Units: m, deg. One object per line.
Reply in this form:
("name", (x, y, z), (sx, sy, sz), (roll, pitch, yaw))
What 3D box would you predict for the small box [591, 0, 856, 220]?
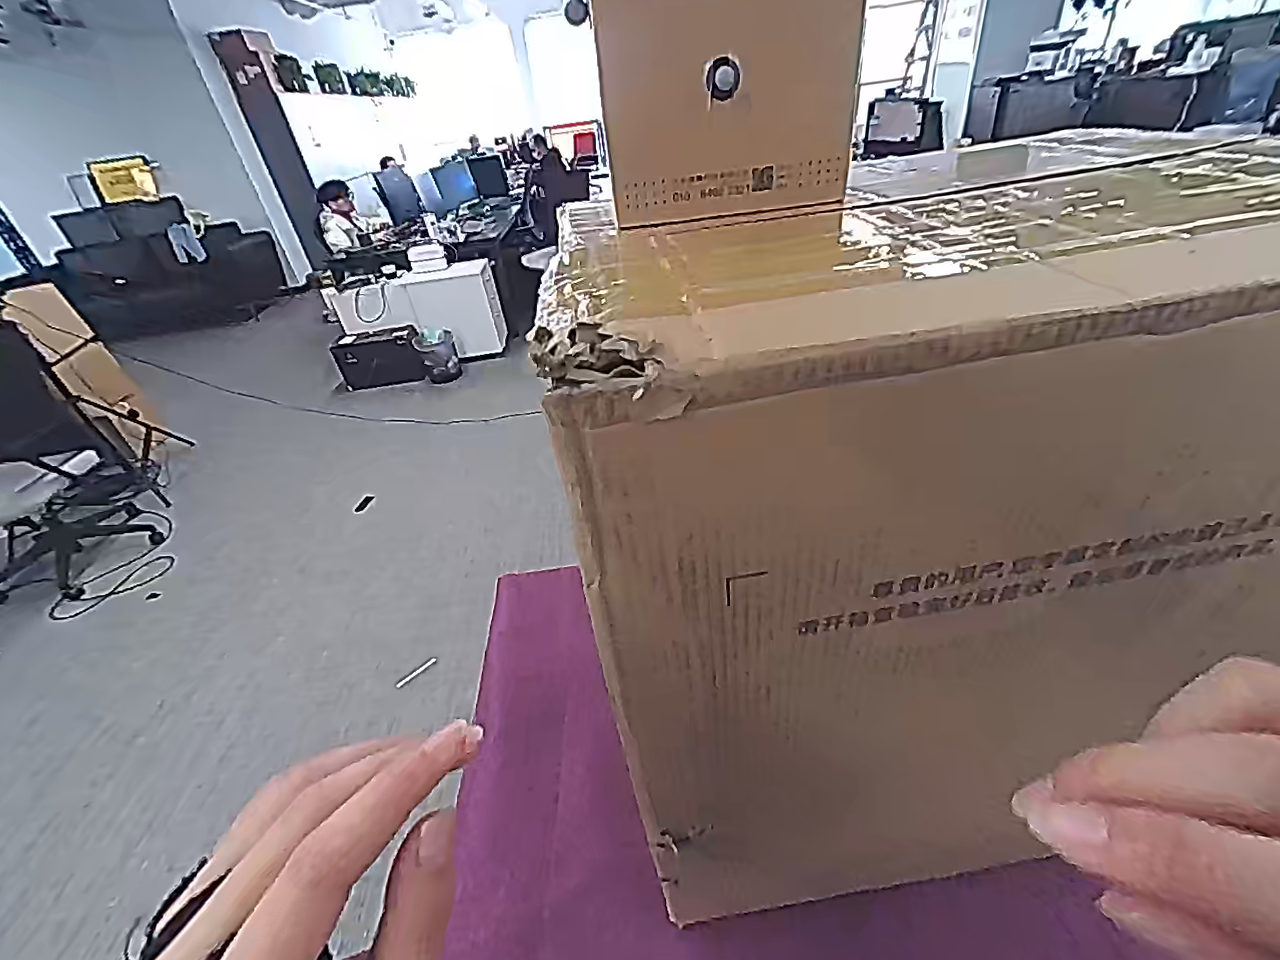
("small box", (0.053, -0.303, 0.409), (0.168, 0.176, 0.179), (-6, 35, 1))
